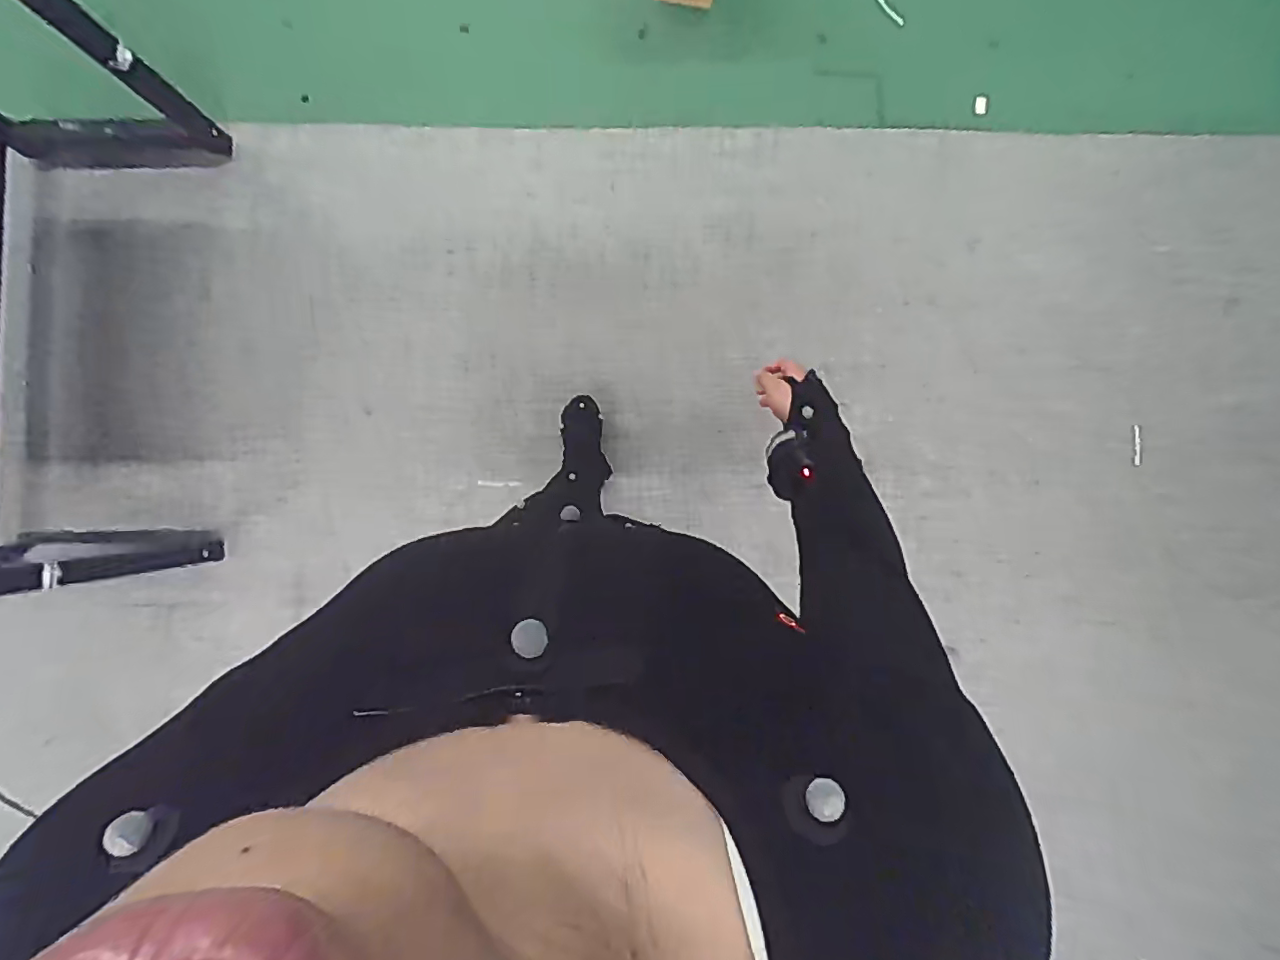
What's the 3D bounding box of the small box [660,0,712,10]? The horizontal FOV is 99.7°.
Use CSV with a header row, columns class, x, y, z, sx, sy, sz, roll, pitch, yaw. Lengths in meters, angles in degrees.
class,x,y,z,sx,sy,sz,roll,pitch,yaw
small box,0.127,-1.410,1.438,0.168,0.176,0.179,8,88,-1
